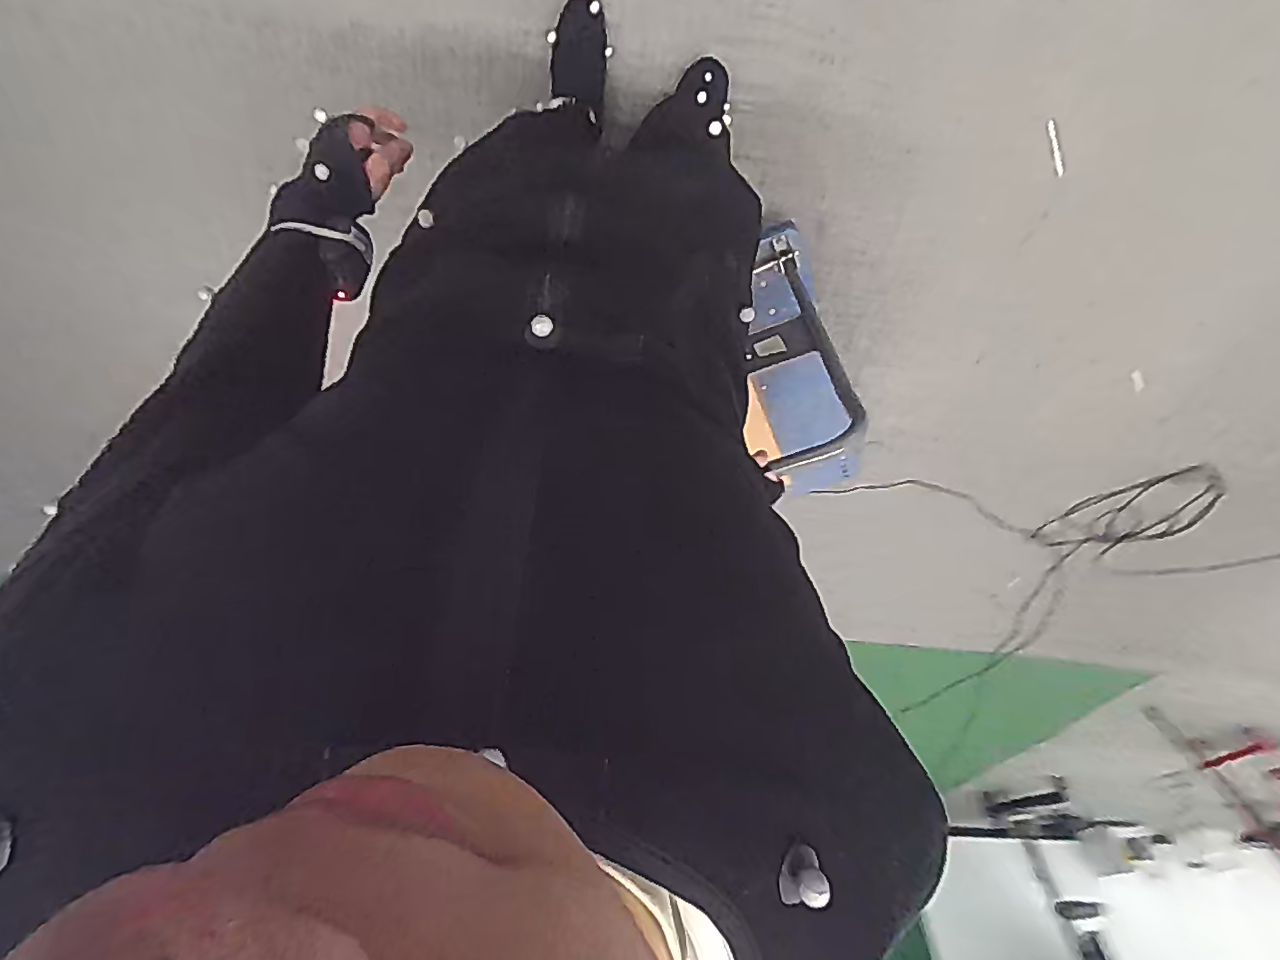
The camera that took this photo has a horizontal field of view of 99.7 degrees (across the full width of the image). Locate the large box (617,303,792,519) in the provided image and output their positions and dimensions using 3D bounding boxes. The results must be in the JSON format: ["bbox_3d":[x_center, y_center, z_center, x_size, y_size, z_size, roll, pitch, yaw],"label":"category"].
[{"bbox_3d":[0.163,-0.171,1.410,0.320,0.320,0.408,-19,131,17],"label":"large box"}]
